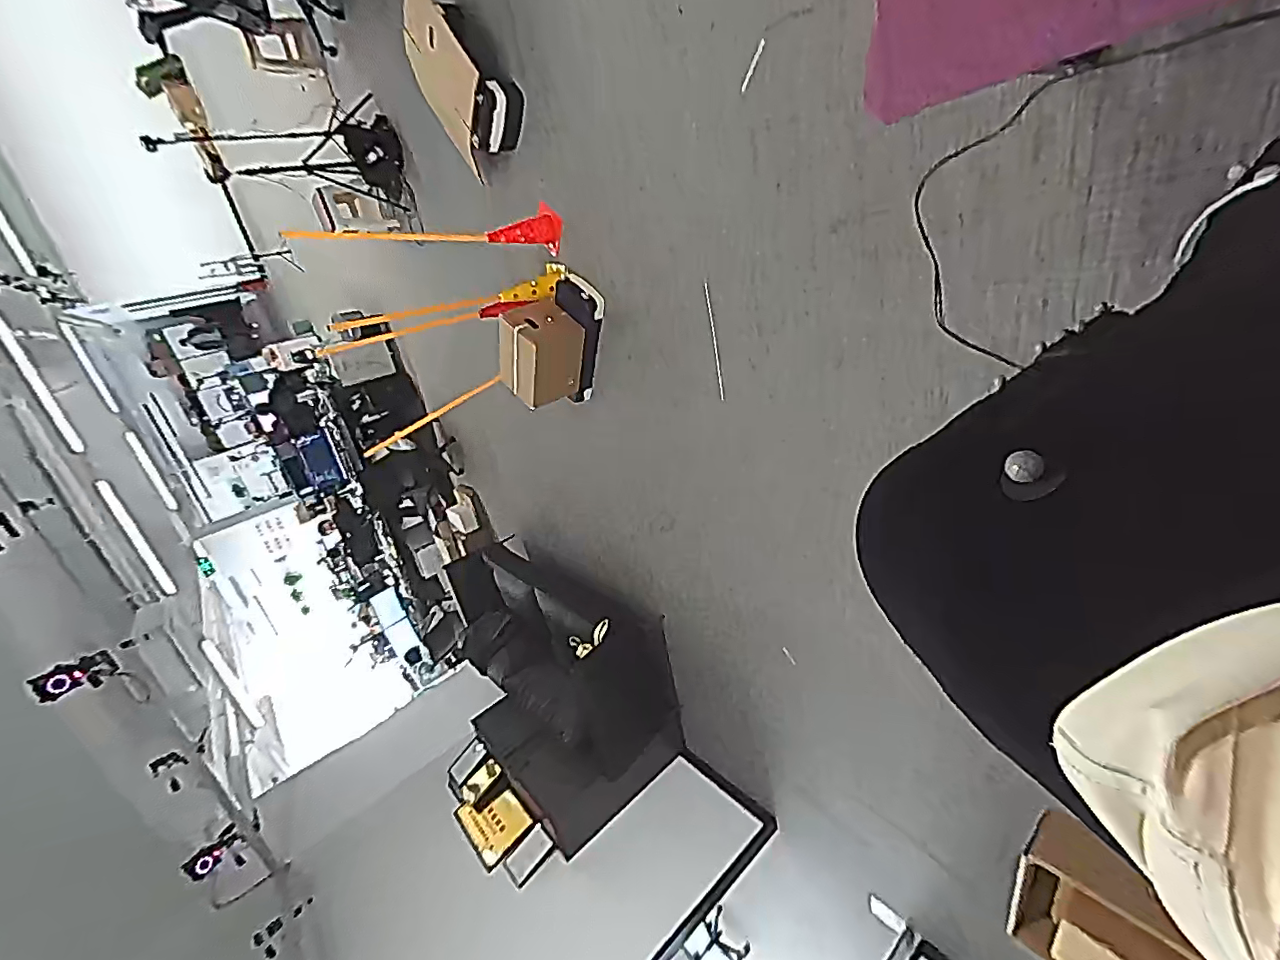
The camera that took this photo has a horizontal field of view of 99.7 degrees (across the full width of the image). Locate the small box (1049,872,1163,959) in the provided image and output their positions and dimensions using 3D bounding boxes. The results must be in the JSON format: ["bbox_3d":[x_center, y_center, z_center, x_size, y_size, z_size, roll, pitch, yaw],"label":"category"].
[{"bbox_3d":[1.159,1.143,1.345,0.168,0.176,0.179,21,128,48],"label":"small box"}]
